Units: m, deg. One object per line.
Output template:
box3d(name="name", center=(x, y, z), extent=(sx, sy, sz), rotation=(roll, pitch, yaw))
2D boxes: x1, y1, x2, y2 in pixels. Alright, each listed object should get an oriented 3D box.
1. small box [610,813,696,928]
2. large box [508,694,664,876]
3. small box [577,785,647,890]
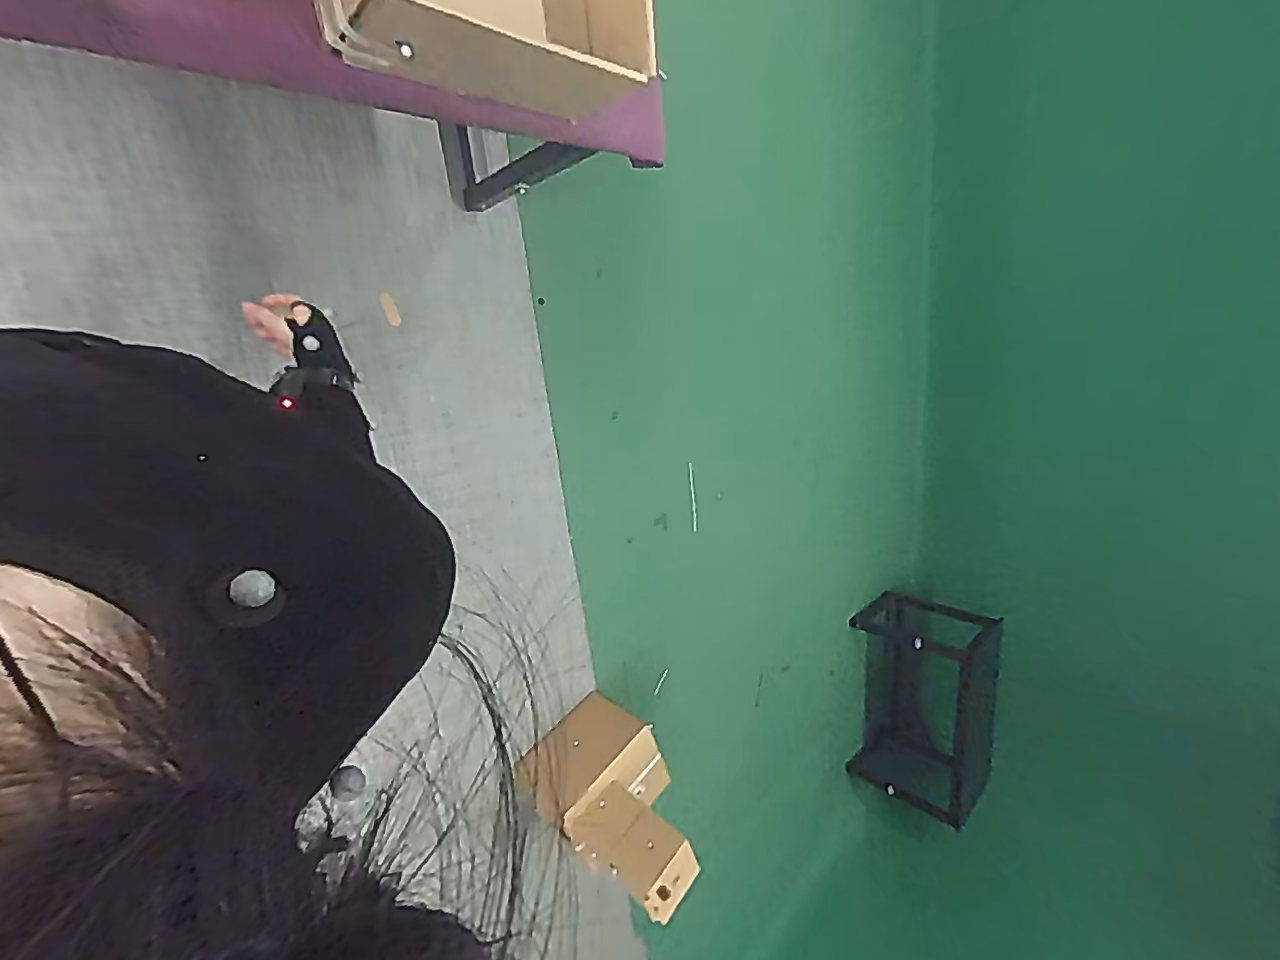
box3d(name="small box", center=(0.033, 1.133, 1.582), extent=(0.179, 0.176, 0.168), rotation=(-36, 119, -35))
box3d(name="large box", center=(-0.186, 1.064, 1.933), extent=(0.408, 0.320, 0.320), rotation=(-37, 121, -35))
box3d(name="small box", center=(-0.080, 1.116, 1.701), extent=(0.179, 0.176, 0.168), rotation=(-31, 117, -36))
